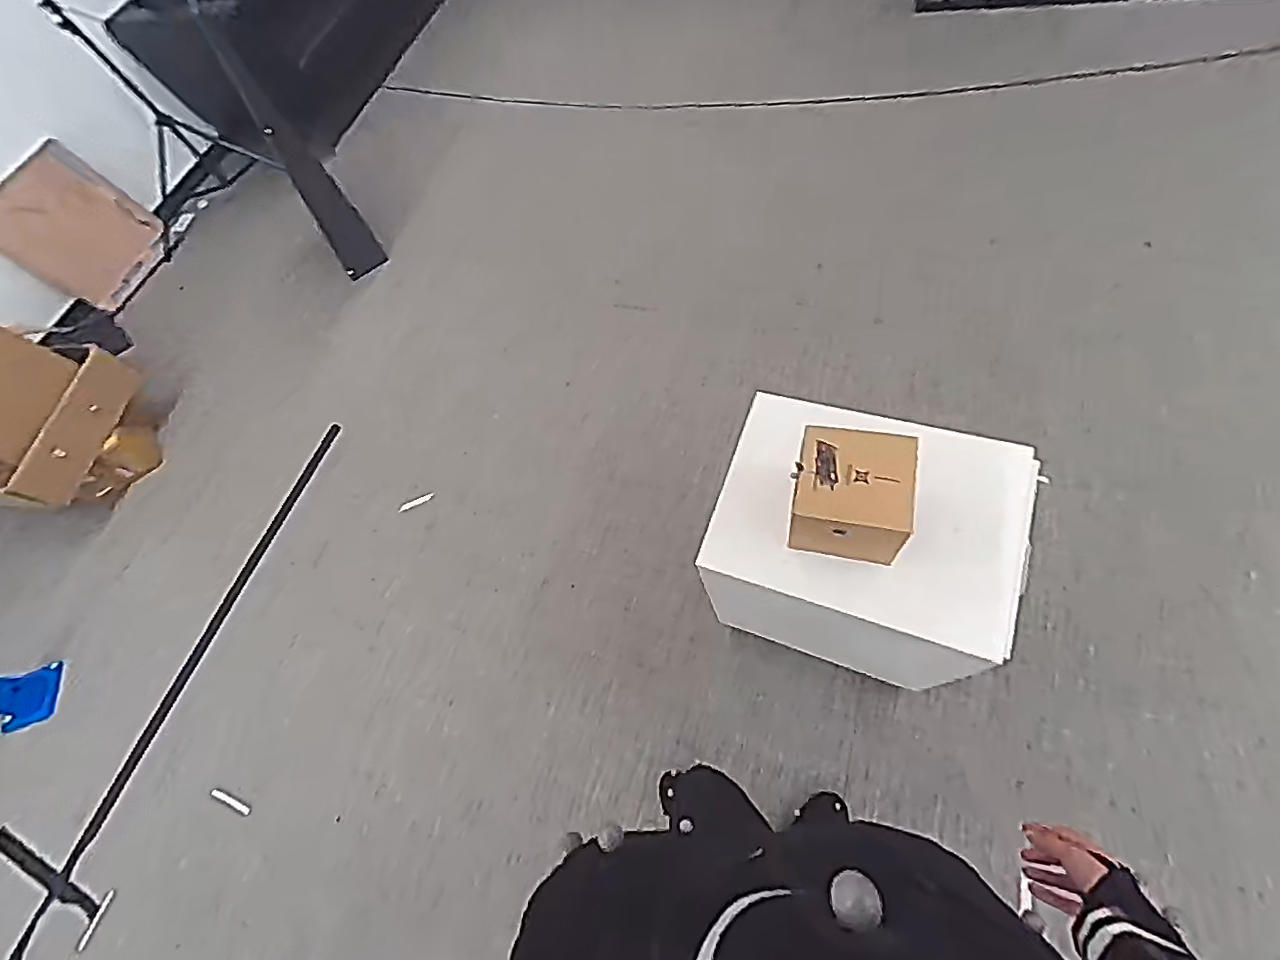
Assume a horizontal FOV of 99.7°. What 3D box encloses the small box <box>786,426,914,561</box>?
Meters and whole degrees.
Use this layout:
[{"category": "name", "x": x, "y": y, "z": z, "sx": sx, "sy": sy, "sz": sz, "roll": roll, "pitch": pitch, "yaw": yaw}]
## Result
[{"category": "small box", "x": 0.347, "y": 0.027, "z": 0.917, "sx": 0.179, "sy": 0.176, "sz": 0.168, "roll": 8, "pitch": 67, "yaw": 16}]
